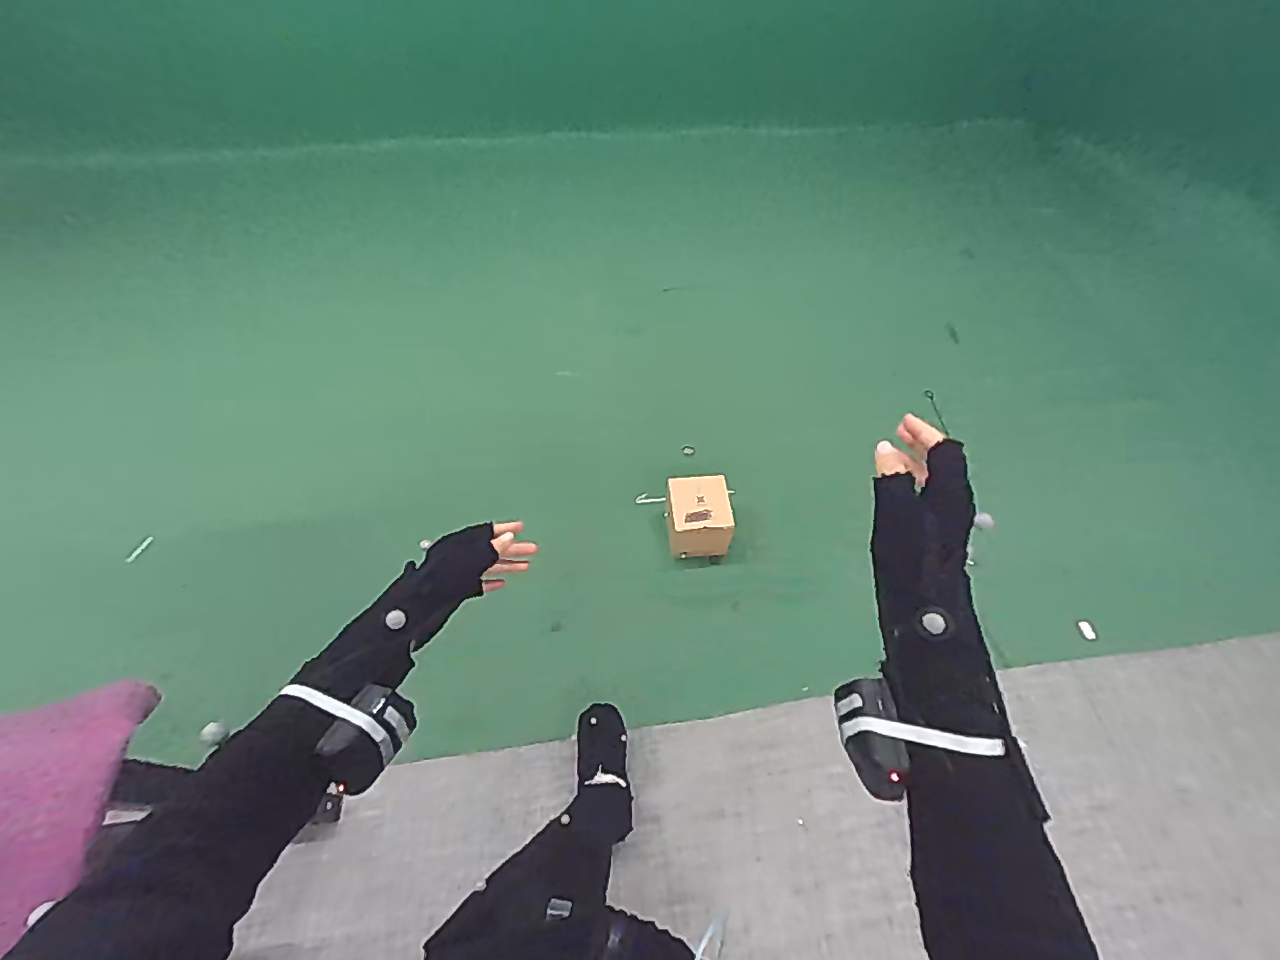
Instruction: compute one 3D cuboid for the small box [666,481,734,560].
[{"bbox_3d":[0.168,0.125,1.579,0.168,0.176,0.179,-3,54,-4],"label":"small box"}]
